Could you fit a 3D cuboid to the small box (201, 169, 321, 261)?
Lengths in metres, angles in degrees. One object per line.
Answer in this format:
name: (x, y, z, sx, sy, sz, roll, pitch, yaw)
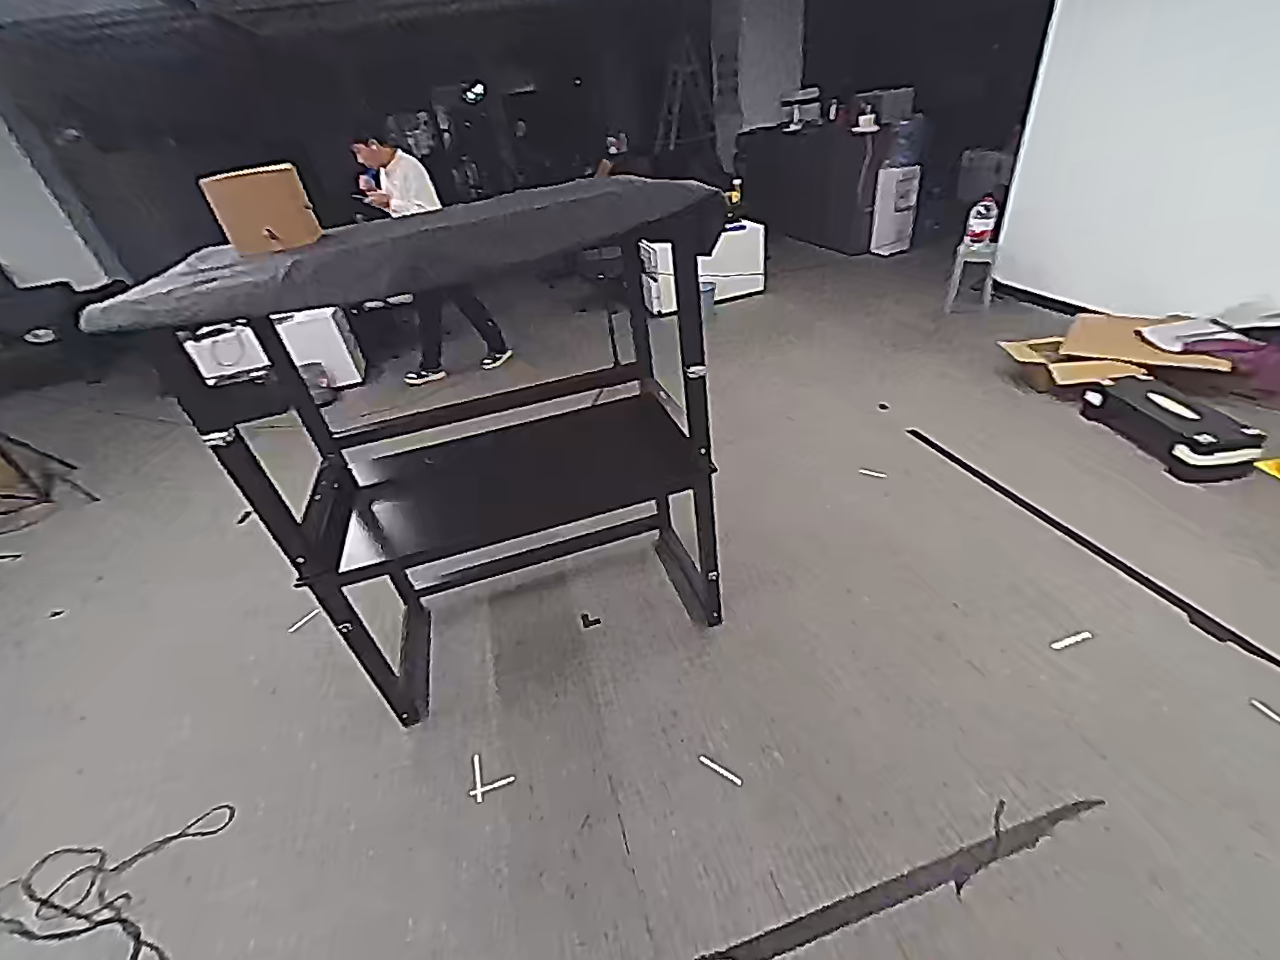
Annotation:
small box: (-0.926, -0.661, 1.345, 0.179, 0.176, 0.168, -16, 36, -12)
